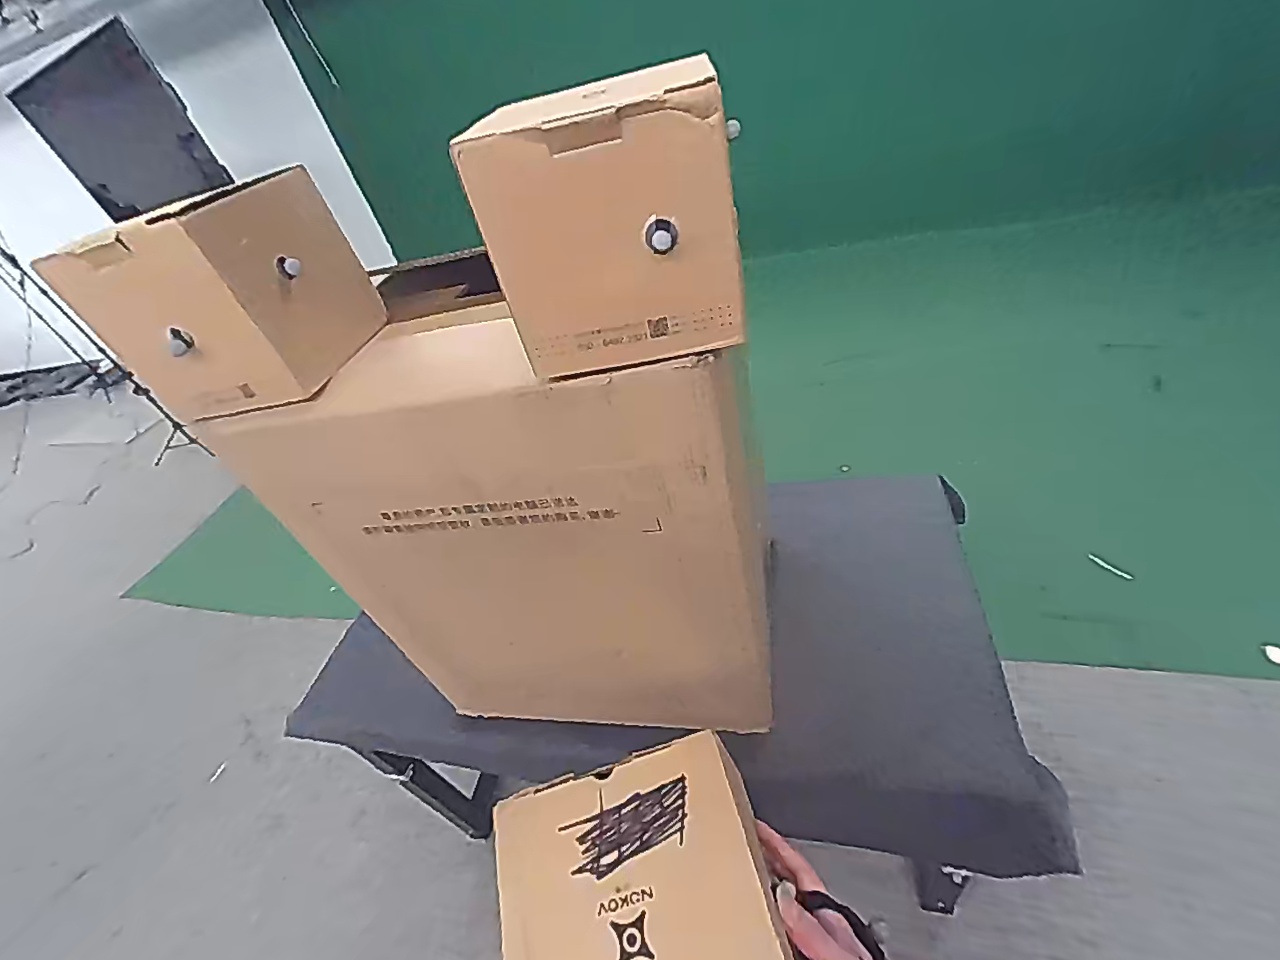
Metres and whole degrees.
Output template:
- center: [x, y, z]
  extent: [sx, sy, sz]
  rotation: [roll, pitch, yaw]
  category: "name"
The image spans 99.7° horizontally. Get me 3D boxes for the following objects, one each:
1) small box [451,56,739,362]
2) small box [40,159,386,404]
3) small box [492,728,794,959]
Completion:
- center: [-0.015, -0.204, 0.425]
  extent: [0.168, 0.176, 0.179]
  rotation: [-6, 40, 9]
  category: "small box"
- center: [-0.395, -0.189, 0.542]
  extent: [0.168, 0.176, 0.179]
  rotation: [-6, 41, 14]
  category: "small box"
- center: [0.010, 0.309, 0.387]
  extent: [0.168, 0.176, 0.179]
  rotation: [-20, 51, 3]
  category: "small box"
